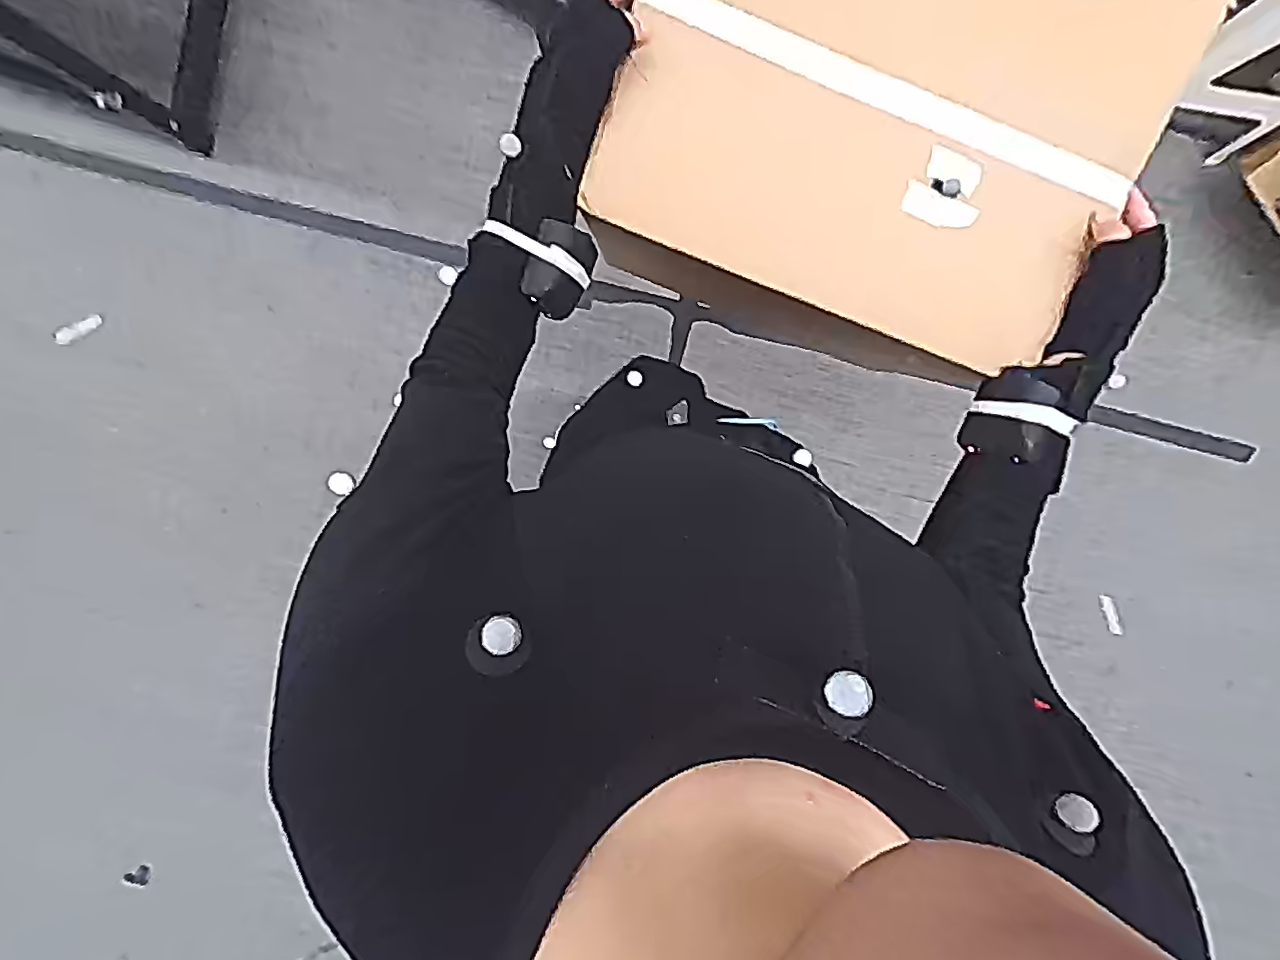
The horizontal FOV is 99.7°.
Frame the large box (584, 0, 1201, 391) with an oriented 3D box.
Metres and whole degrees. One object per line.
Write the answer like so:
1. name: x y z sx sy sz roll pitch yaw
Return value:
1. large box: 0.187 -0.318 0.570 0.408 0.320 0.320 21 104 -6
